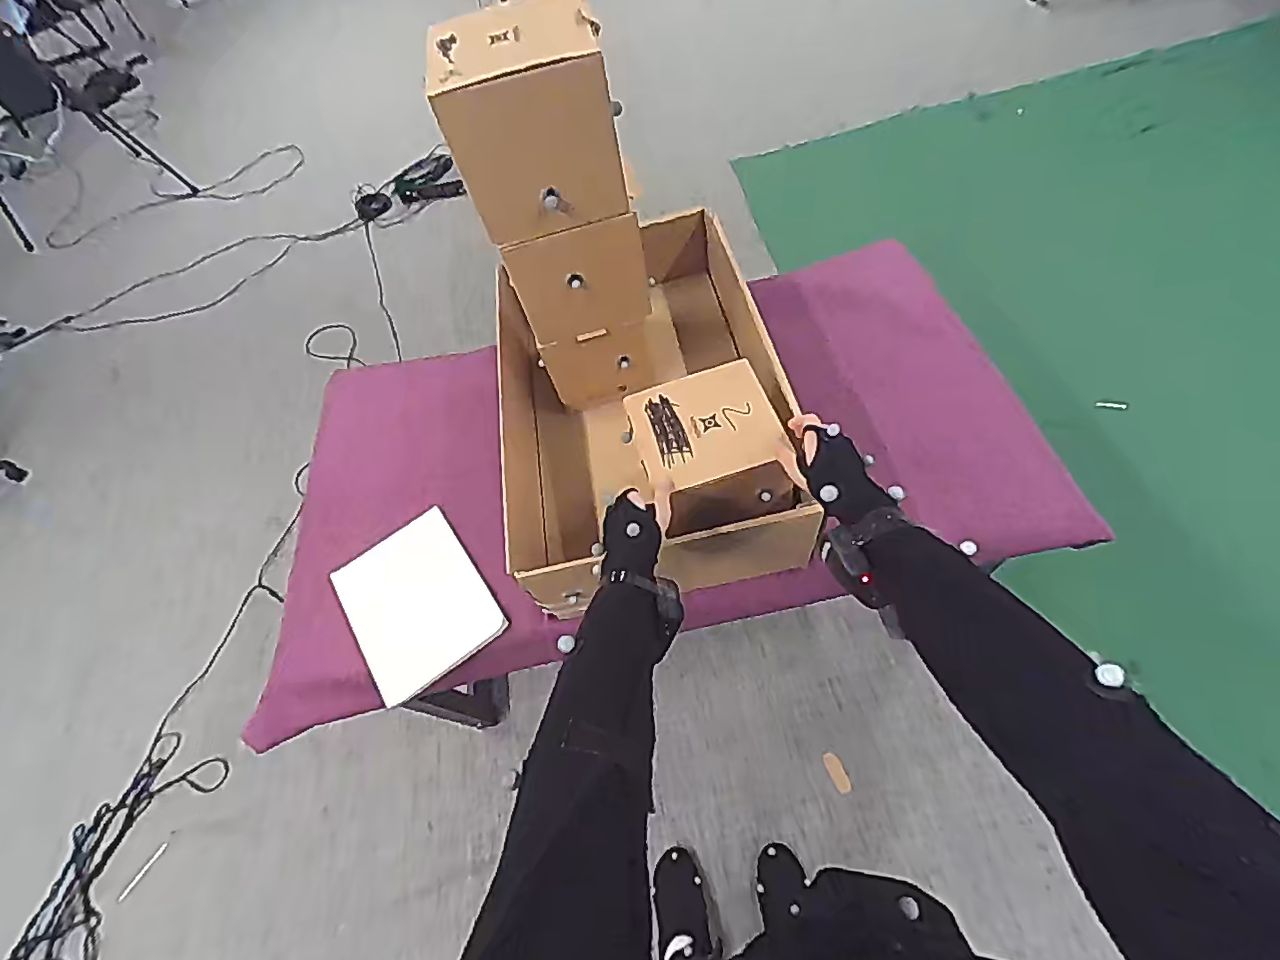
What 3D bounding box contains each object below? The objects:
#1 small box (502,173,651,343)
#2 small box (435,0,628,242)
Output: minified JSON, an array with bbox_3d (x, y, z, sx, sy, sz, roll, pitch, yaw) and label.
[{"bbox_3d":[-0.087,-0.323,0.761,0.179,0.176,0.168,-15,58,1],"label":"small box"},{"bbox_3d":[-0.114,-0.408,0.623,0.179,0.176,0.168,-13,58,1],"label":"small box"}]
